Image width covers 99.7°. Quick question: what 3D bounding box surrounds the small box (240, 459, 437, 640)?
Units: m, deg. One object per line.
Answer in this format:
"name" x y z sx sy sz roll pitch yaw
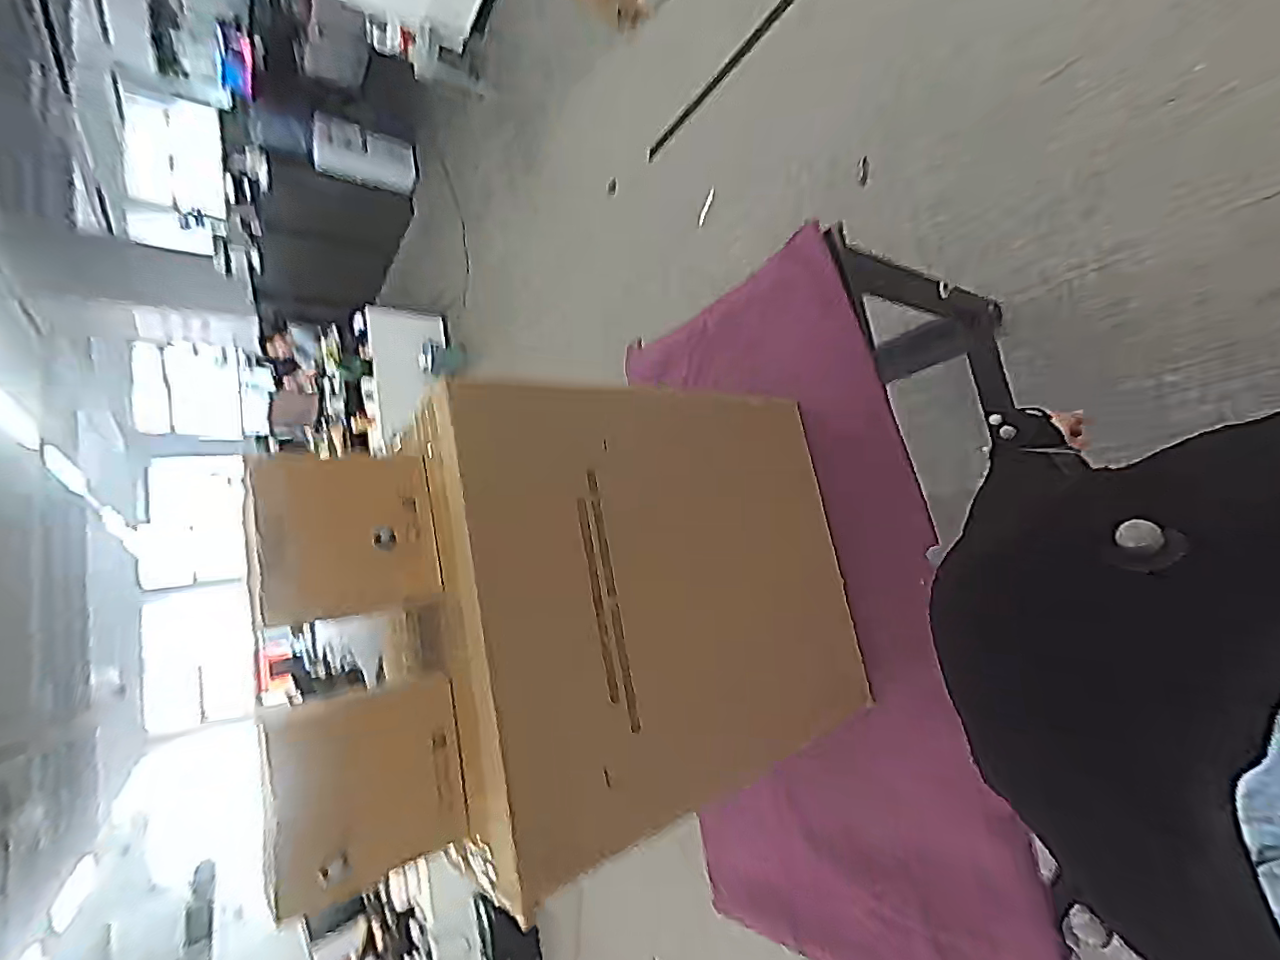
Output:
"small box" -0.346 0.079 0.617 0.179 0.176 0.168 -26 73 49
